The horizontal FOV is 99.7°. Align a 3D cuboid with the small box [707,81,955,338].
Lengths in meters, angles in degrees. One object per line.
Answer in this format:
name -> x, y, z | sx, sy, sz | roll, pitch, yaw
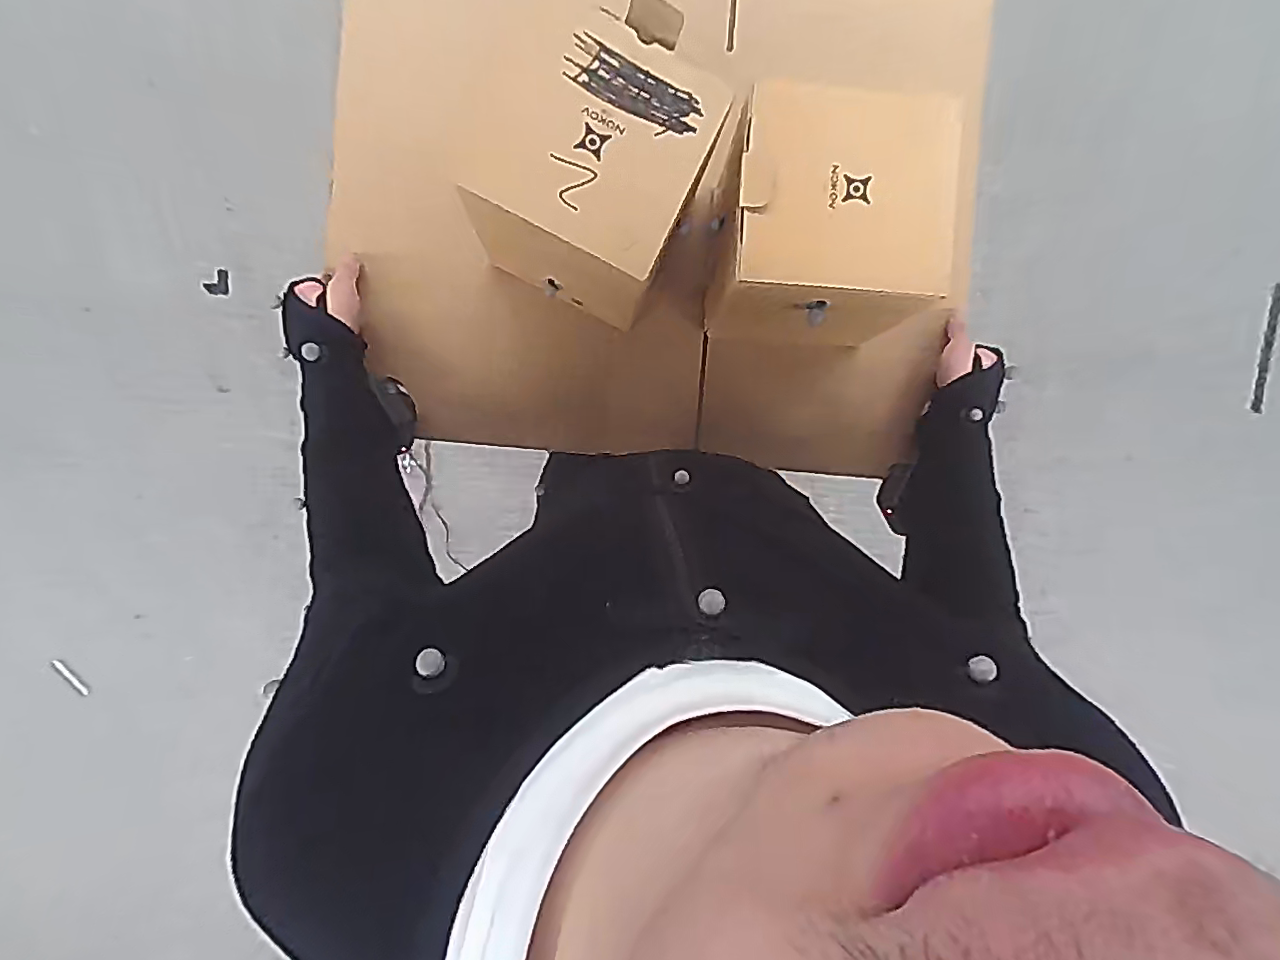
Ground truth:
small box -> 0.170, -0.243, 0.530 | 0.179, 0.176, 0.168 | 4, 90, -1
